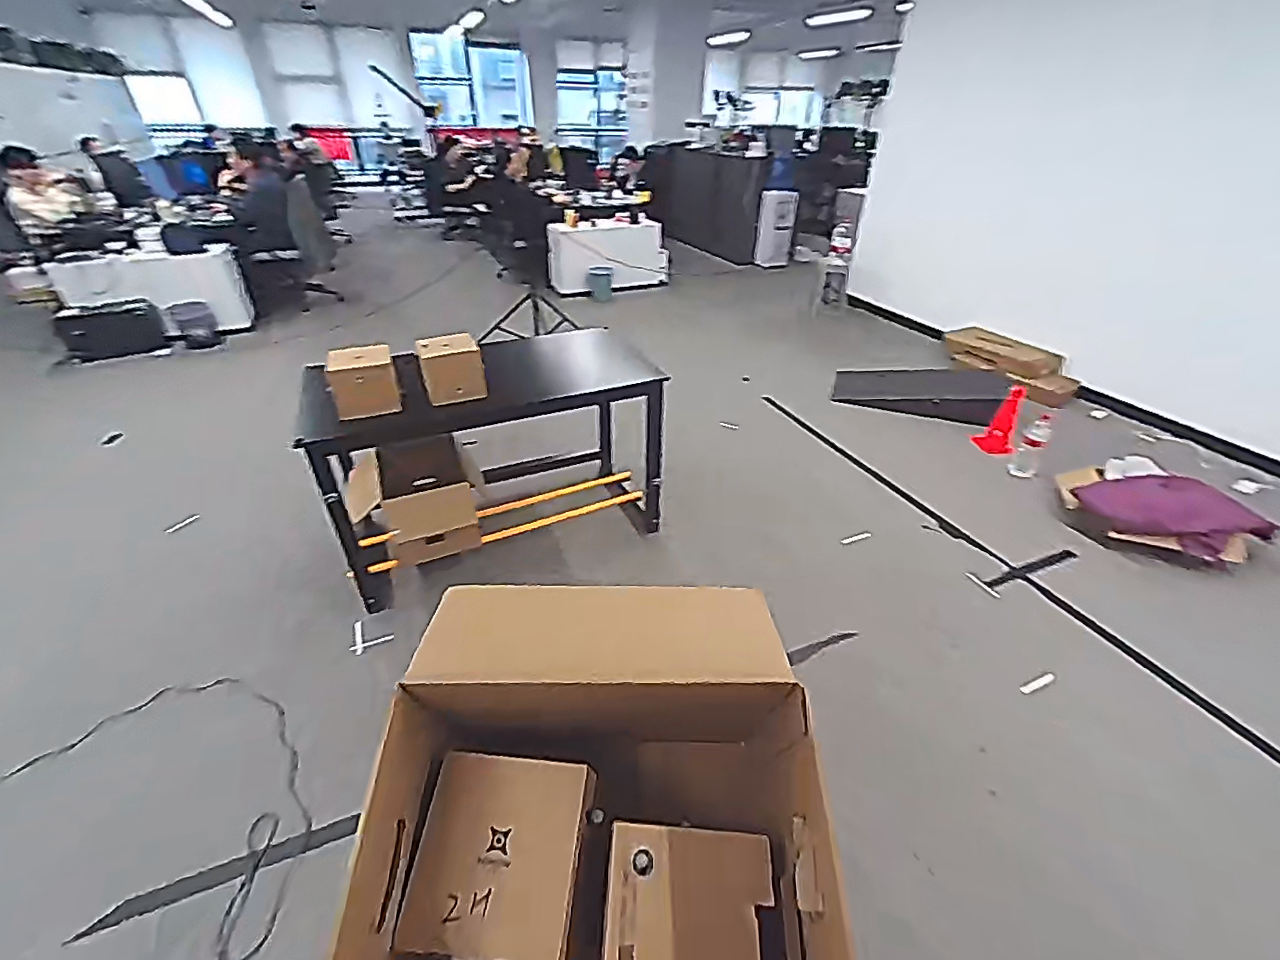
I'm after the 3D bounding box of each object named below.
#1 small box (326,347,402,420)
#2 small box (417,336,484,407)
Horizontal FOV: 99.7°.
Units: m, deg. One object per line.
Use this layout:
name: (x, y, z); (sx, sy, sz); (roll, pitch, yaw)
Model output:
small box: (-0.864, -0.302, 1.697); (0.179, 0.176, 0.168); (-13, 38, -20)
small box: (-0.622, -0.359, 1.785); (0.179, 0.176, 0.168); (-14, 37, -22)
